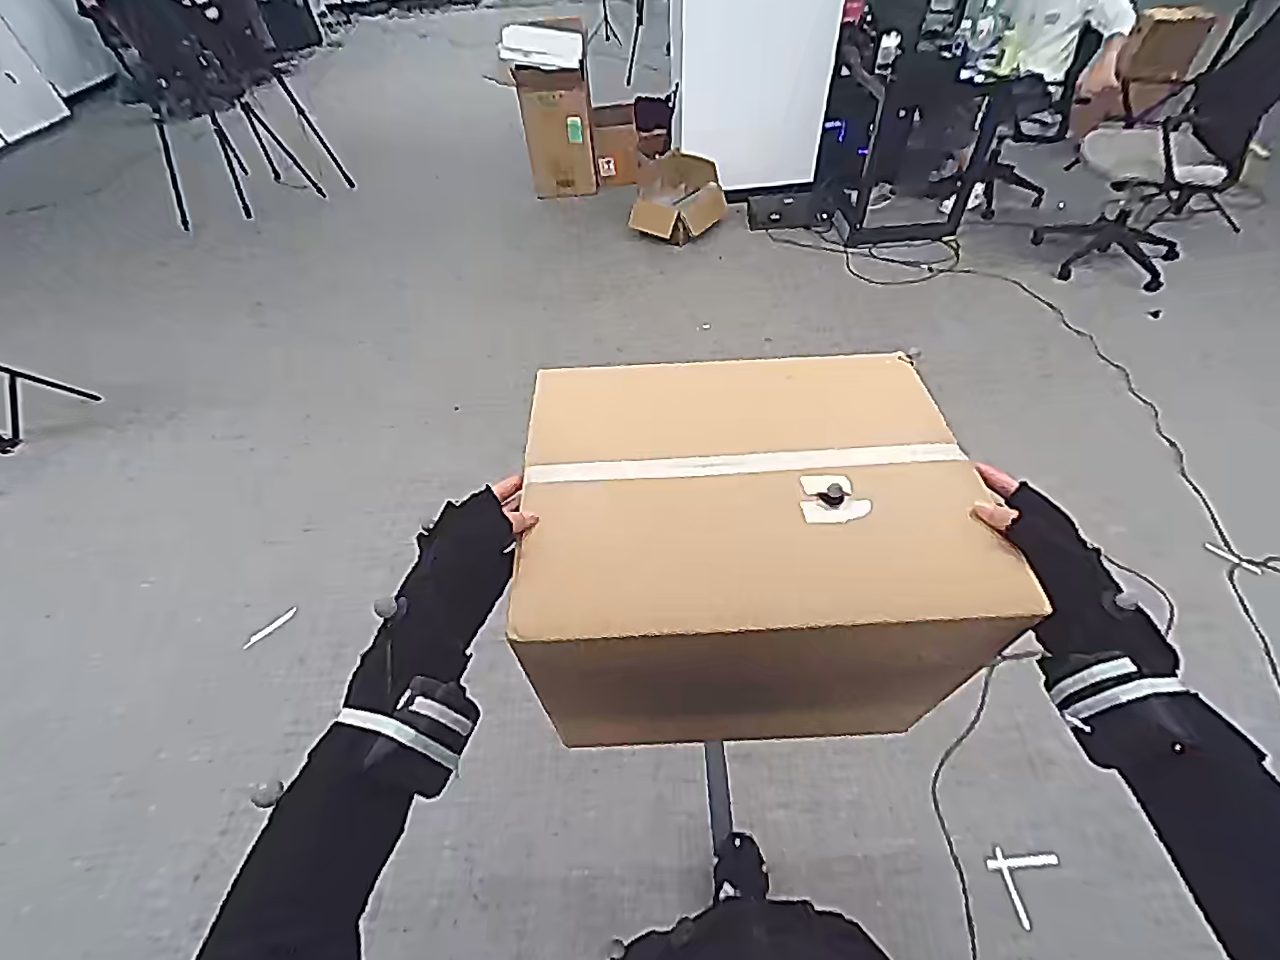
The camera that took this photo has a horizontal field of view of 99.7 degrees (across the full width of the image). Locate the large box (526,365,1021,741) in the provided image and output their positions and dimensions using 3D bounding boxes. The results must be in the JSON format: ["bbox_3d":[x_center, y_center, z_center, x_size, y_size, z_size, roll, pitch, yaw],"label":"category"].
[{"bbox_3d":[0.101,0.090,0.631,0.408,0.320,0.320,-3,51,-1],"label":"large box"}]
